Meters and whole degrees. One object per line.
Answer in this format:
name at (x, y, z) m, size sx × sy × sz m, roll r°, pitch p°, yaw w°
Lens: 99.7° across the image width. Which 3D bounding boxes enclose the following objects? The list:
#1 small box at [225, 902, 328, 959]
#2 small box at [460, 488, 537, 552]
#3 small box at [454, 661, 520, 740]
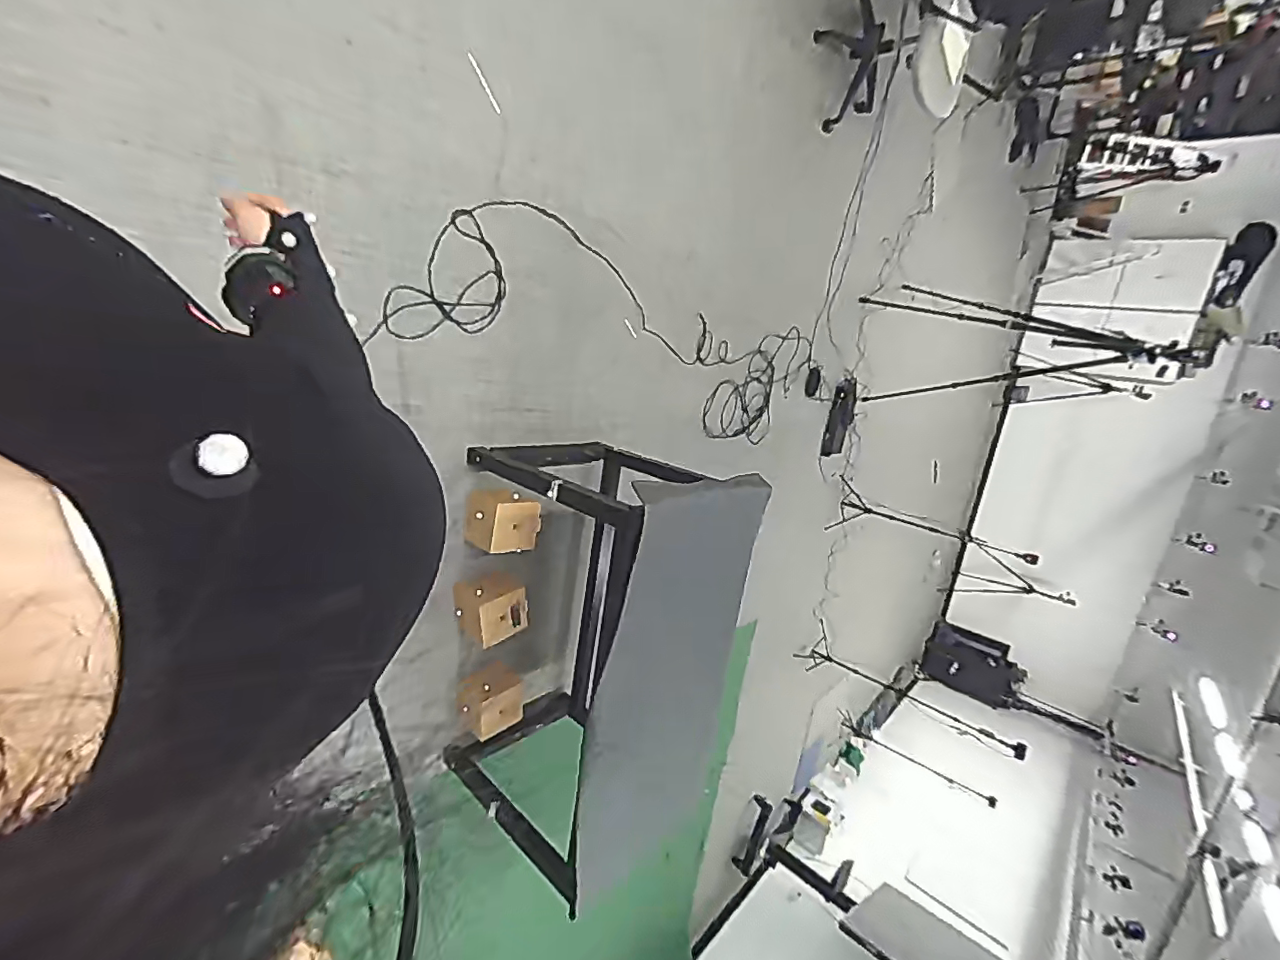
small box at (-1.065, 1.394, 1.586) m, size 0.168 × 0.176 × 0.179 m, roll -42°, pitch 134°, yaw -31°
small box at (-0.467, 0.127, 1.774) m, size 0.179 × 0.176 × 0.168 m, roll 0°, pitch 105°, yaw -50°
small box at (-0.552, 0.782, 1.937) m, size 0.179 × 0.176 × 0.168 m, roll -13°, pitch 115°, yaw -47°
